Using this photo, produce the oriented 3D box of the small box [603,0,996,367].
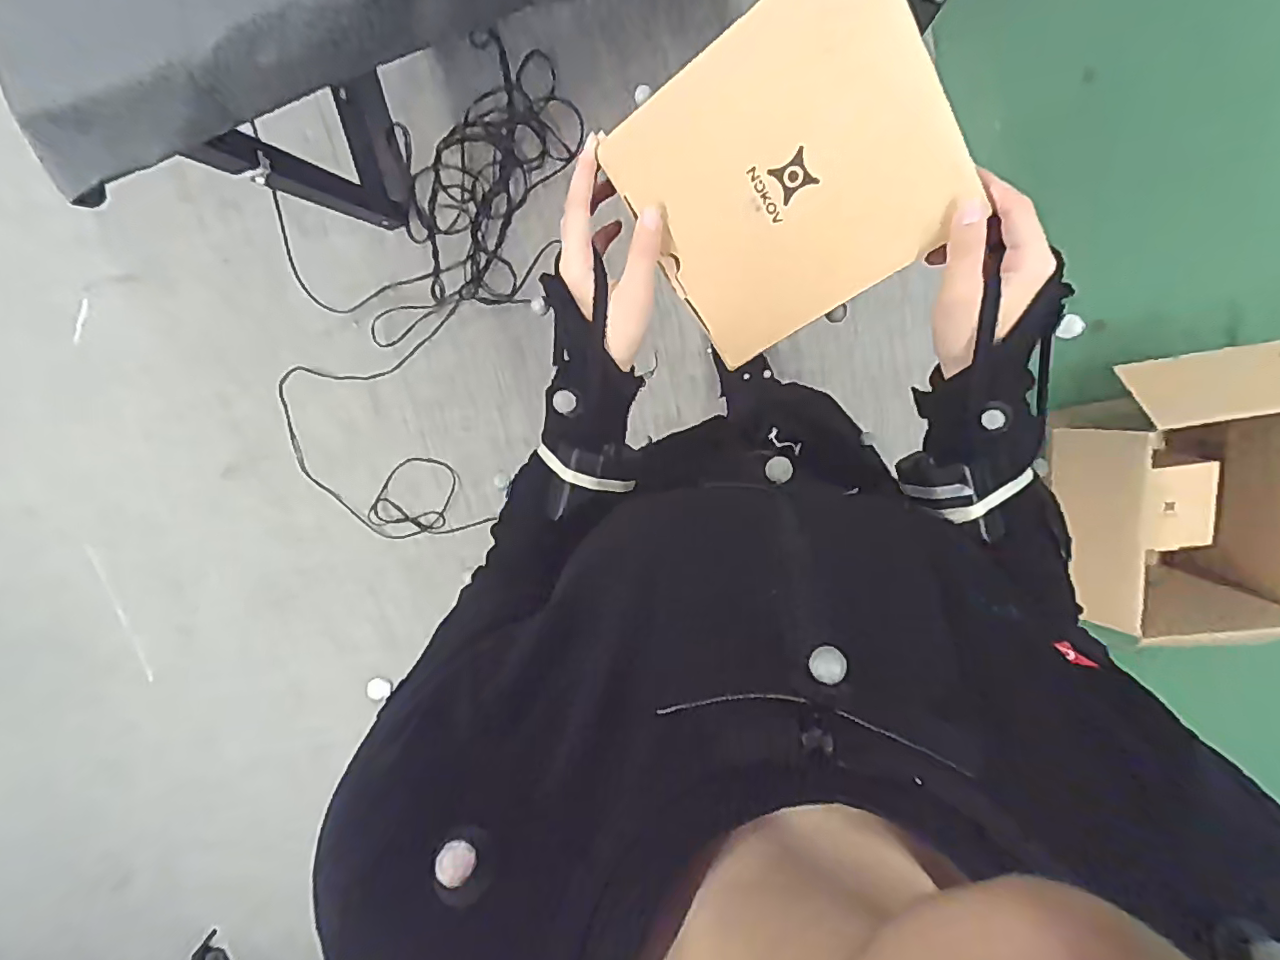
[{"bbox_3d":[0.103,-0.214,0.385,0.179,0.176,0.168,-29,109,25],"label":"small box"}]
